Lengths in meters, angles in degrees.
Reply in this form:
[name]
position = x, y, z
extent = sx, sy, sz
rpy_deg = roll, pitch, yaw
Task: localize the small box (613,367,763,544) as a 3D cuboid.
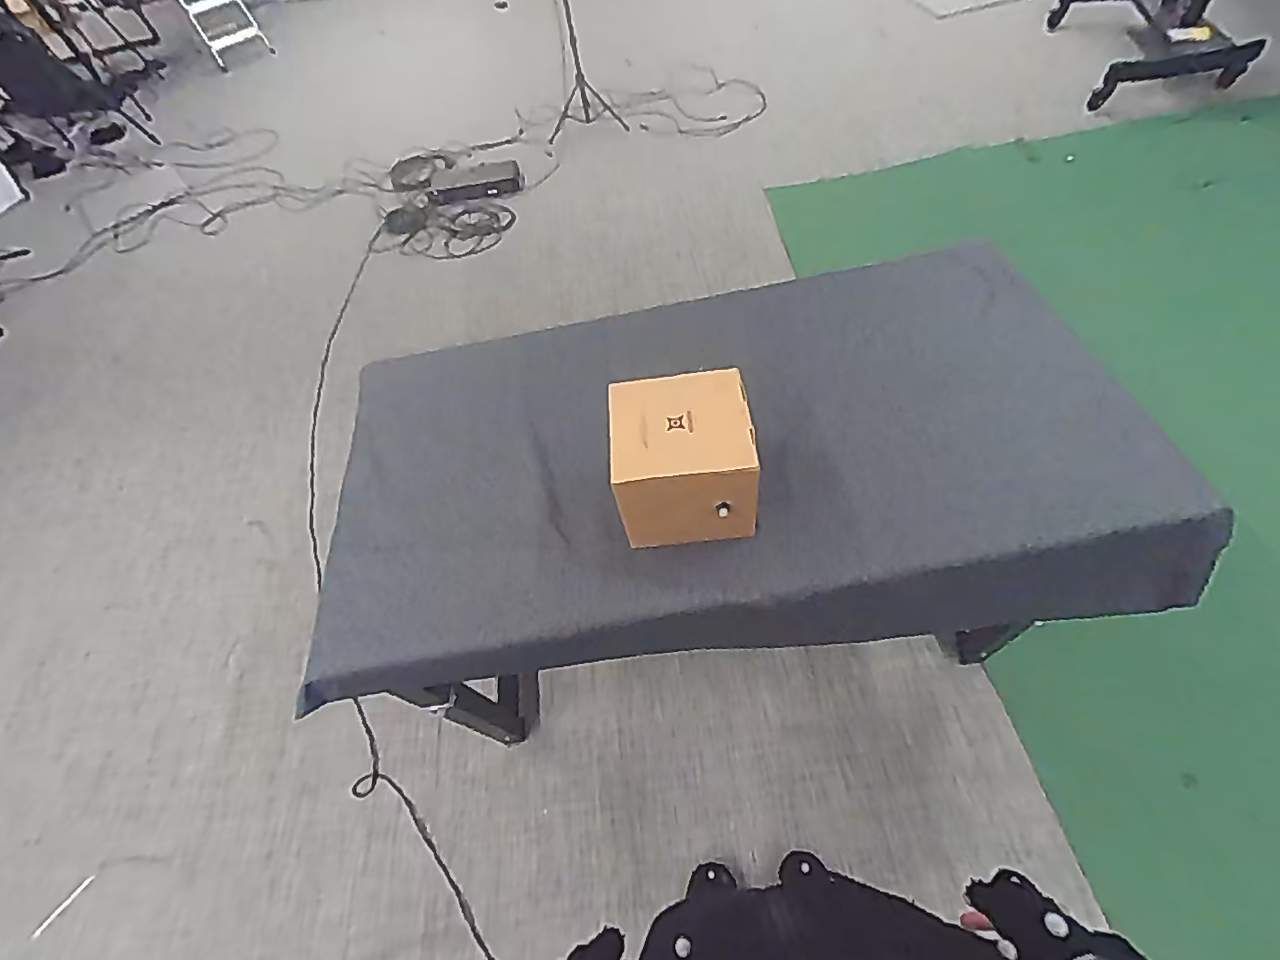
[small box]
position = 0.064, -0.027, 0.740
extent = 0.179, 0.176, 0.168
rpy_deg = -7, 54, 5
